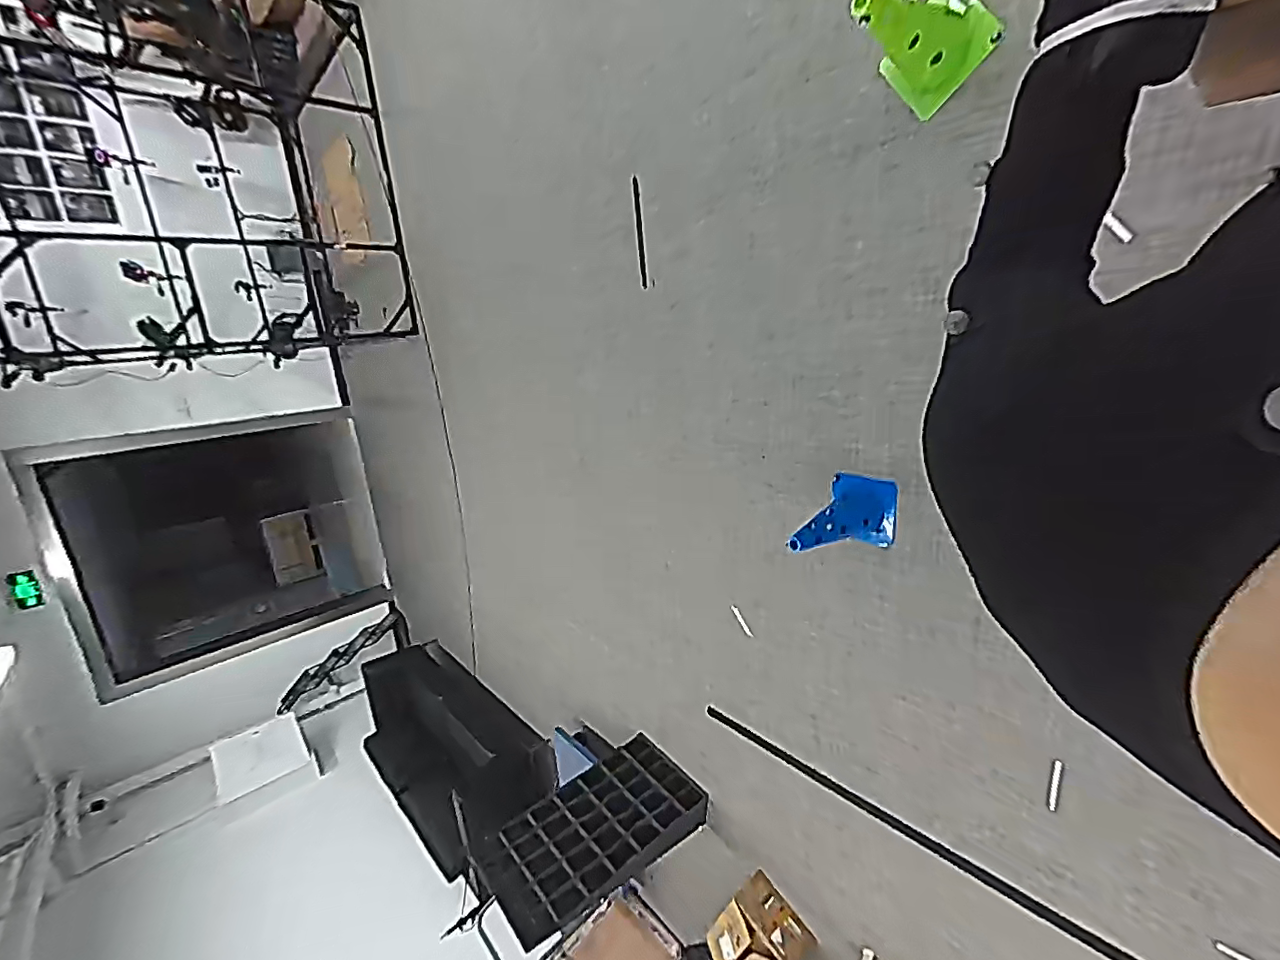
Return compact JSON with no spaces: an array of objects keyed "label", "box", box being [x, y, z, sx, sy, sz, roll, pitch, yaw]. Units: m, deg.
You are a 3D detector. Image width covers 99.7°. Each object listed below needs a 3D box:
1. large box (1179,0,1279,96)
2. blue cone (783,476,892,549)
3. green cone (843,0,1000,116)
[{"label":"large box","box":[0.558,-0.441,0.244,0.408,0.320,0.320,15,117,45]},{"label":"blue cone","box":[0.537,0.125,1.523,0.192,0.380,0.193,17,116,47]},{"label":"green cone","box":[0.532,-0.928,1.108,0.200,0.368,0.202,62,142,15]}]
